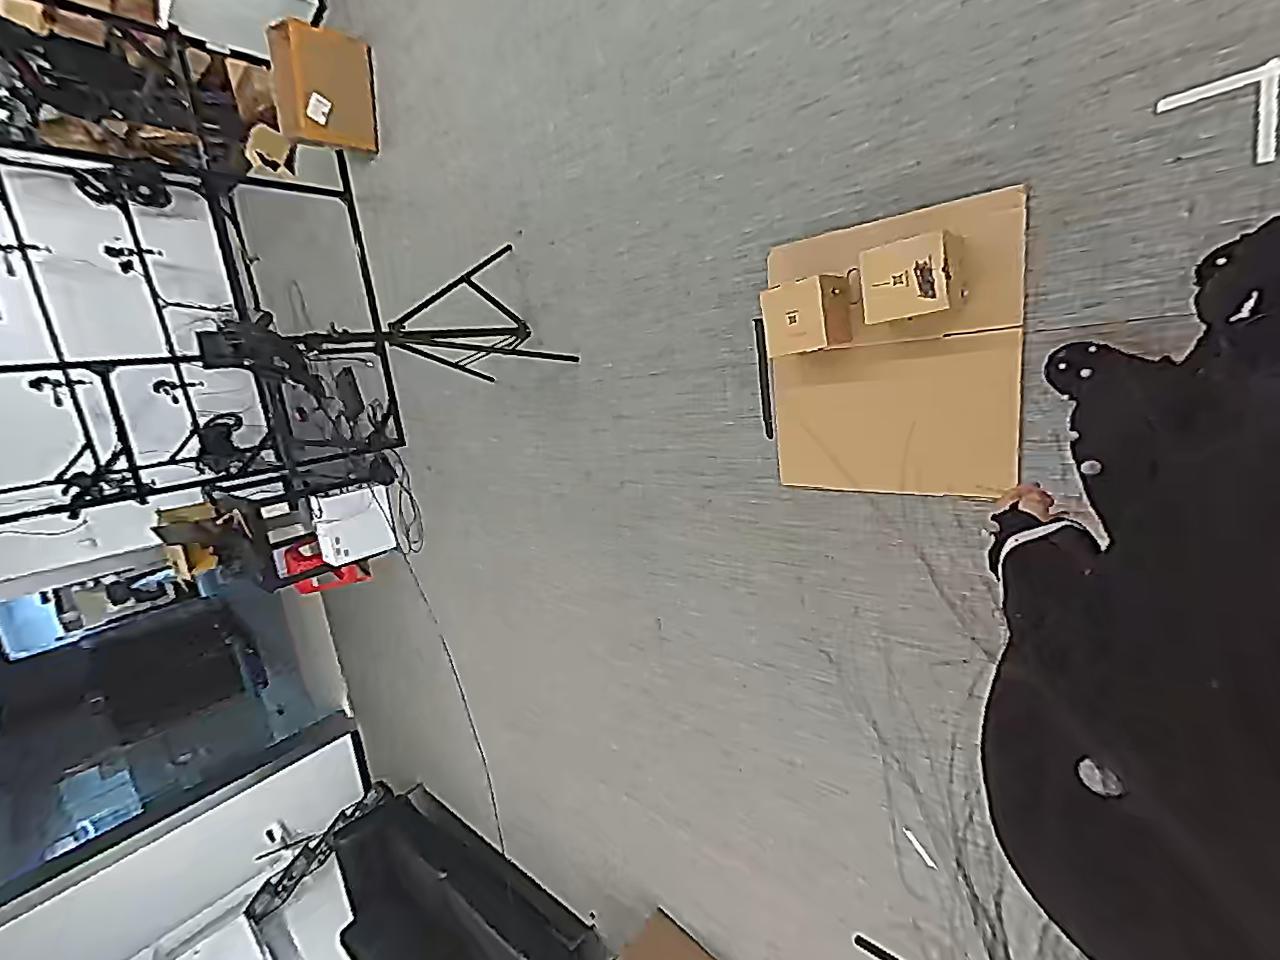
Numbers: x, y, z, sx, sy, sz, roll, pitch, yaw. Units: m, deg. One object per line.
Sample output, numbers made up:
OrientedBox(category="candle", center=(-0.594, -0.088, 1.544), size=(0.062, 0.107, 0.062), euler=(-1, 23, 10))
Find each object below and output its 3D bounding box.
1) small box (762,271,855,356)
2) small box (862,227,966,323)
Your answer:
OrientedBox(category="small box", center=(0.443, -0.432, 1.411), size=(0.168, 0.176, 0.179), euler=(-3, 102, 44))
OrientedBox(category="small box", center=(0.628, -0.461, 1.230), size=(0.179, 0.176, 0.168), euler=(-1, 103, 43))
